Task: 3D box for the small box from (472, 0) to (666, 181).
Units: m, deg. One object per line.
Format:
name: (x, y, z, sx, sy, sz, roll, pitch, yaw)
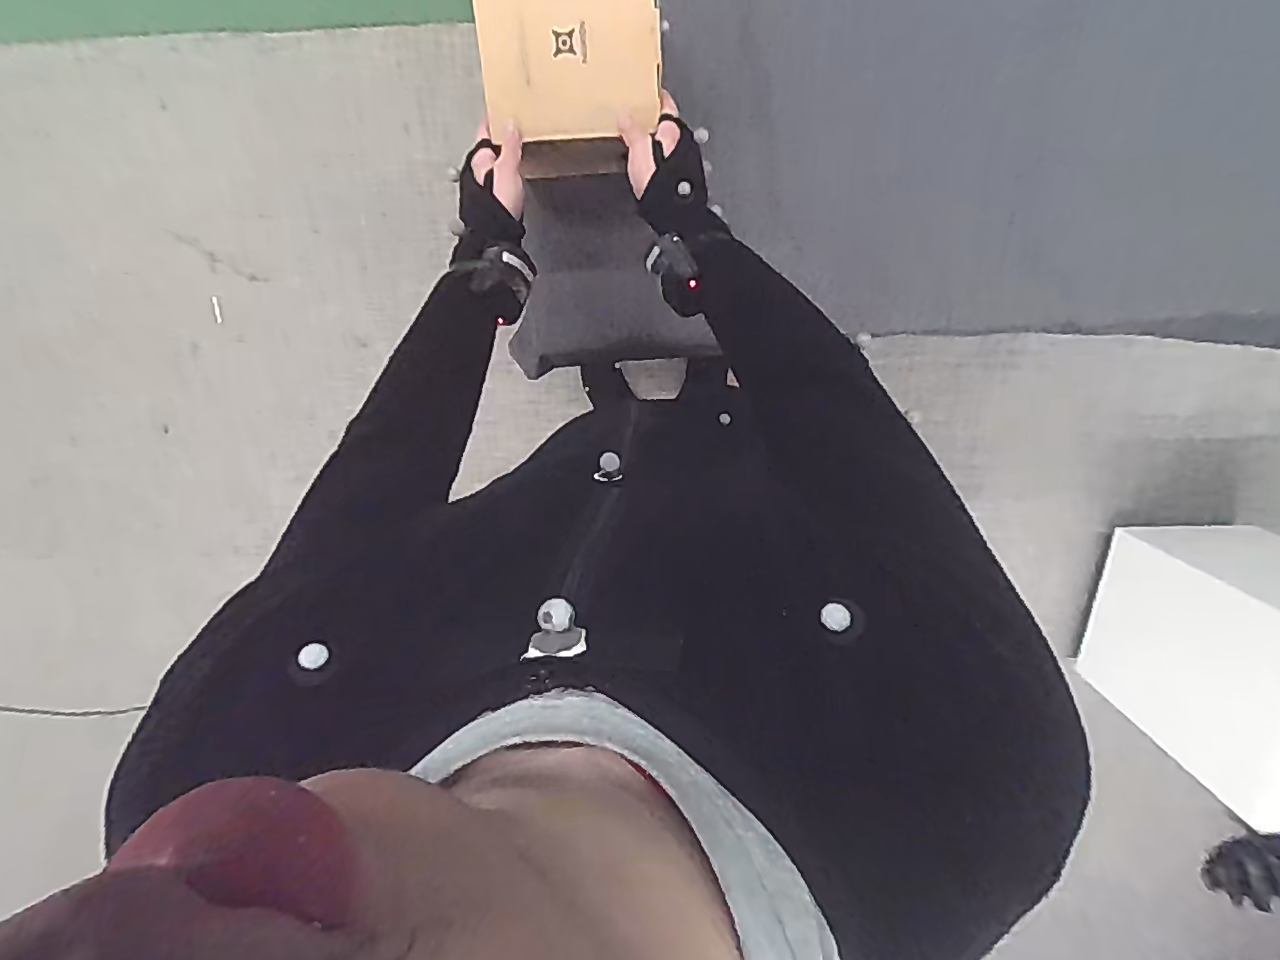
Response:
small box: (-0.067, -0.435, 0.583, 0.179, 0.176, 0.168, -3, 107, 1)
